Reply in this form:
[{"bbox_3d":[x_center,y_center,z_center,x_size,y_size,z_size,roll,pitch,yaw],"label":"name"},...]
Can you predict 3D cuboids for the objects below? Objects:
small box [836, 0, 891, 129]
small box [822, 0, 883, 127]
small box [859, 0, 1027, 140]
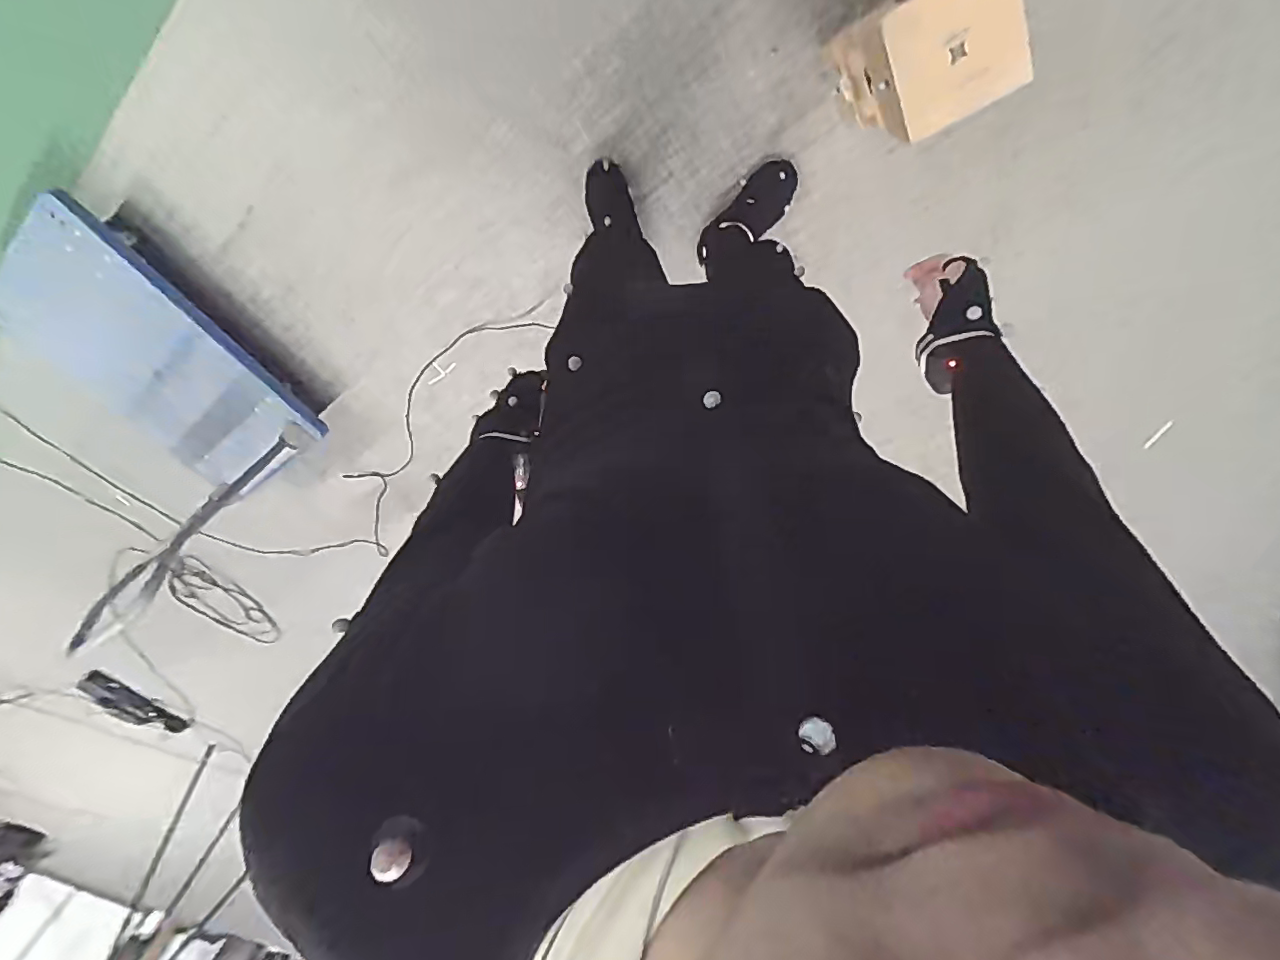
[{"bbox_3d":[0.463,-0.748,0.941,0.179,0.176,0.168,-20,120,22],"label":"small box"},{"bbox_3d":[0.475,-0.840,1.077,0.179,0.176,0.168,-23,119,24],"label":"small box"},{"bbox_3d":[0.445,-0.647,0.813,0.168,0.176,0.179,-20,121,22],"label":"small box"}]
